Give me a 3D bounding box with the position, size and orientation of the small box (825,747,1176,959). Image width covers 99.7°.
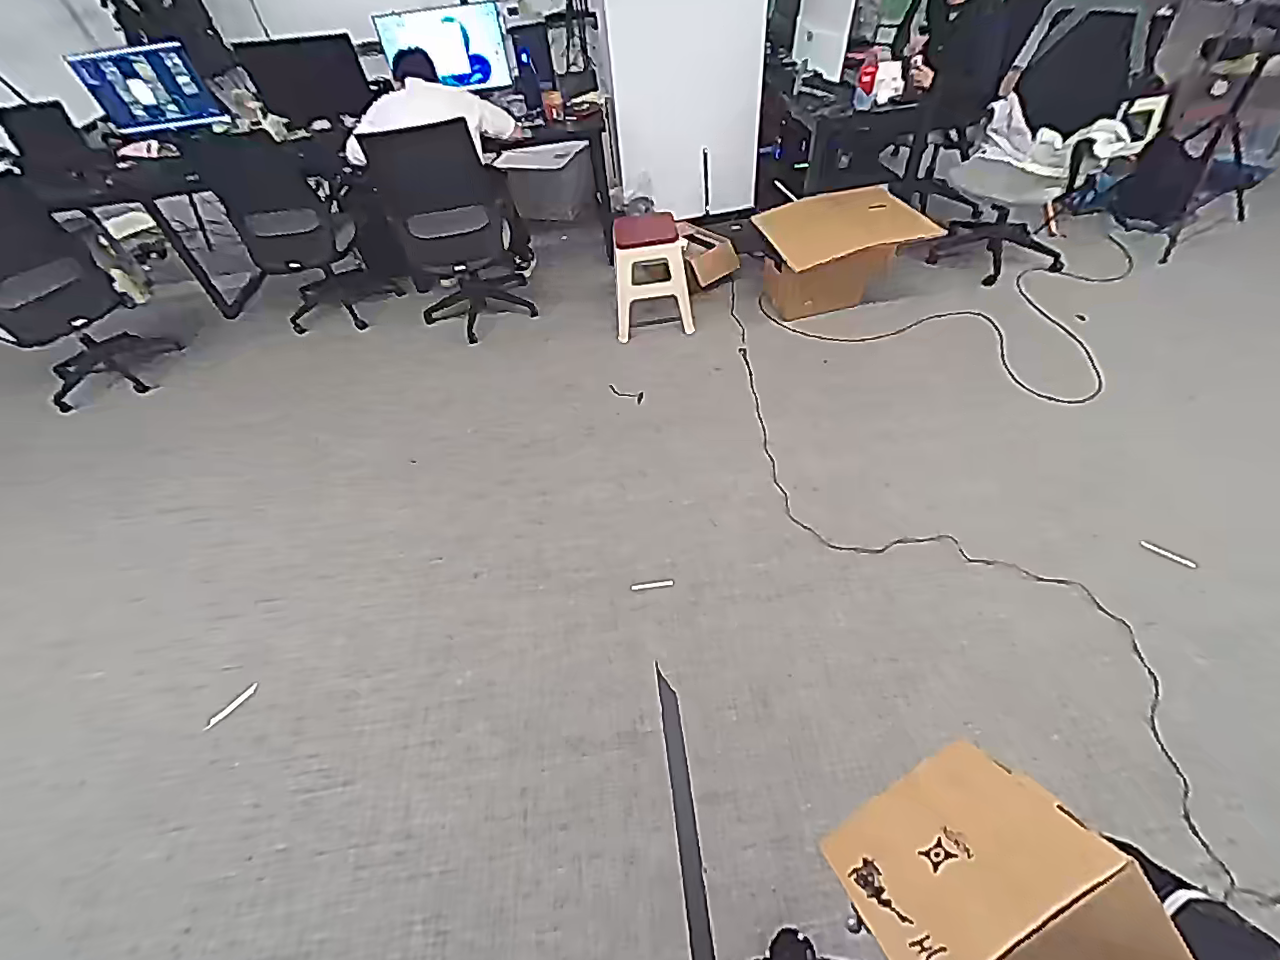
[{"bbox_3d":[0.298,0.375,0.450,0.179,0.168,0.176,-33,93,-4],"label":"small box"}]
